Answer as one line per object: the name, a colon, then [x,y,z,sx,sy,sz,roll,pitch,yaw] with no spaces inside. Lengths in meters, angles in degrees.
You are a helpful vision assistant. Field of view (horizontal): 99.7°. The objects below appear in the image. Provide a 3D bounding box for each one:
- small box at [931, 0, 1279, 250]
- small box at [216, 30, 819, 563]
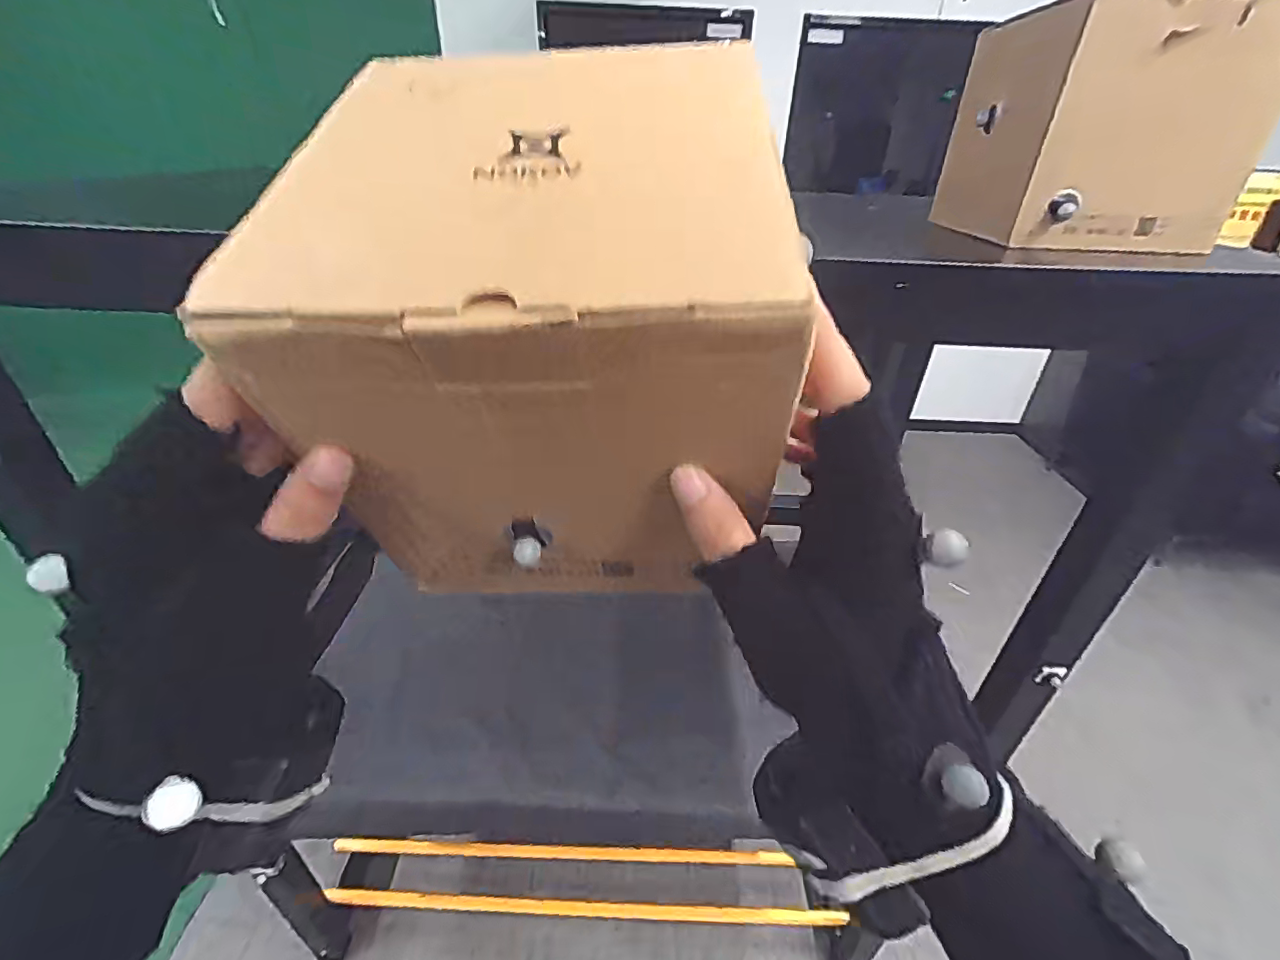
small box: [0.395,-0.308,0.483,0.168,0.176,0.179,4,31,3]
small box: [-0.029,-0.078,0.255,0.168,0.176,0.179,0,55,3]
